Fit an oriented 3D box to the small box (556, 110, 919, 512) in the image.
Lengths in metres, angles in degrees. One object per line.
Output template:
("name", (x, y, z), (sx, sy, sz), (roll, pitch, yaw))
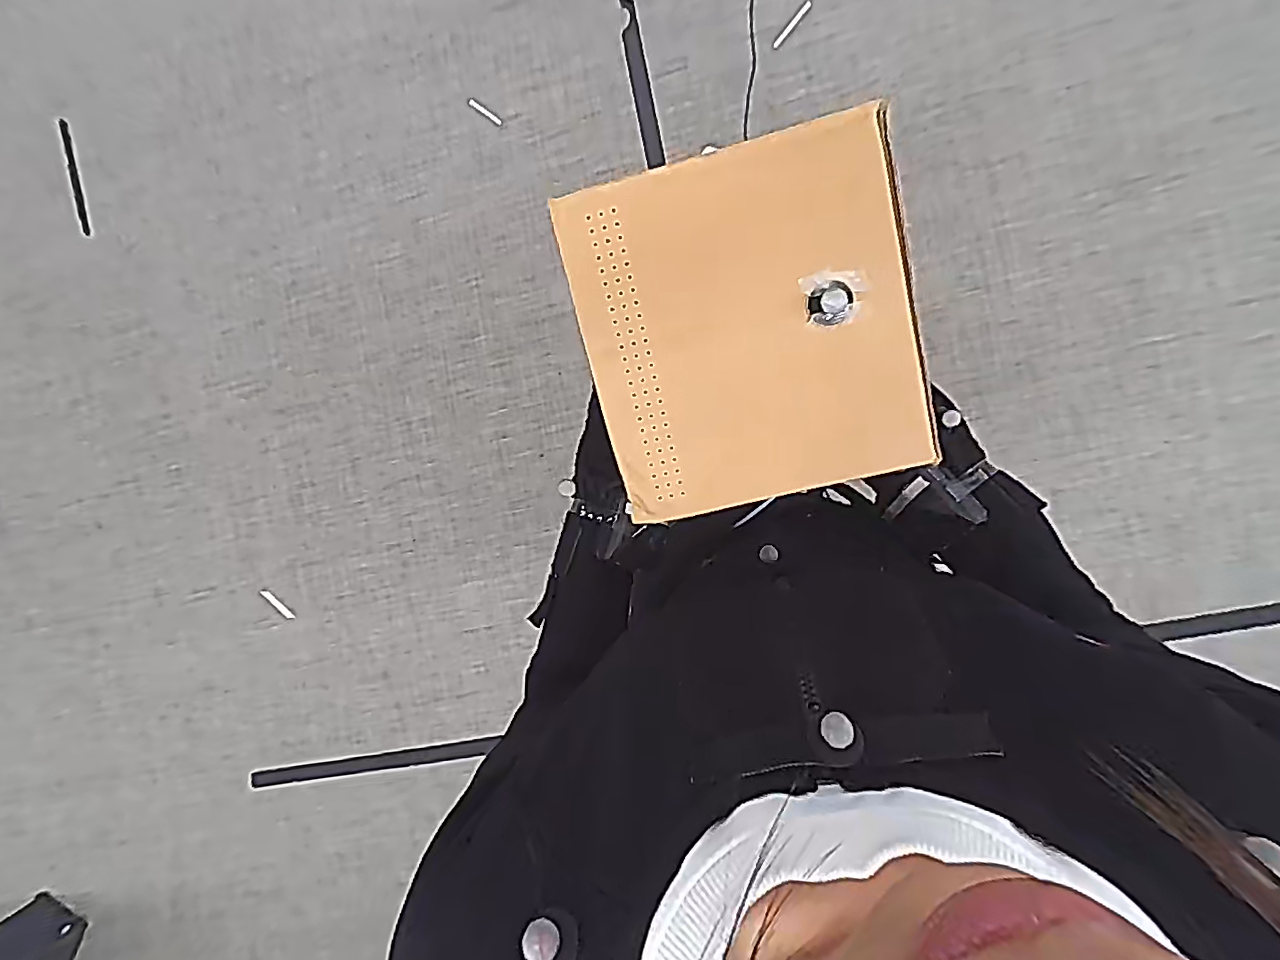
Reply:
("small box", (0.055, -0.095, 0.363), (0.176, 0.168, 0.179), (-13, 101, 8))
